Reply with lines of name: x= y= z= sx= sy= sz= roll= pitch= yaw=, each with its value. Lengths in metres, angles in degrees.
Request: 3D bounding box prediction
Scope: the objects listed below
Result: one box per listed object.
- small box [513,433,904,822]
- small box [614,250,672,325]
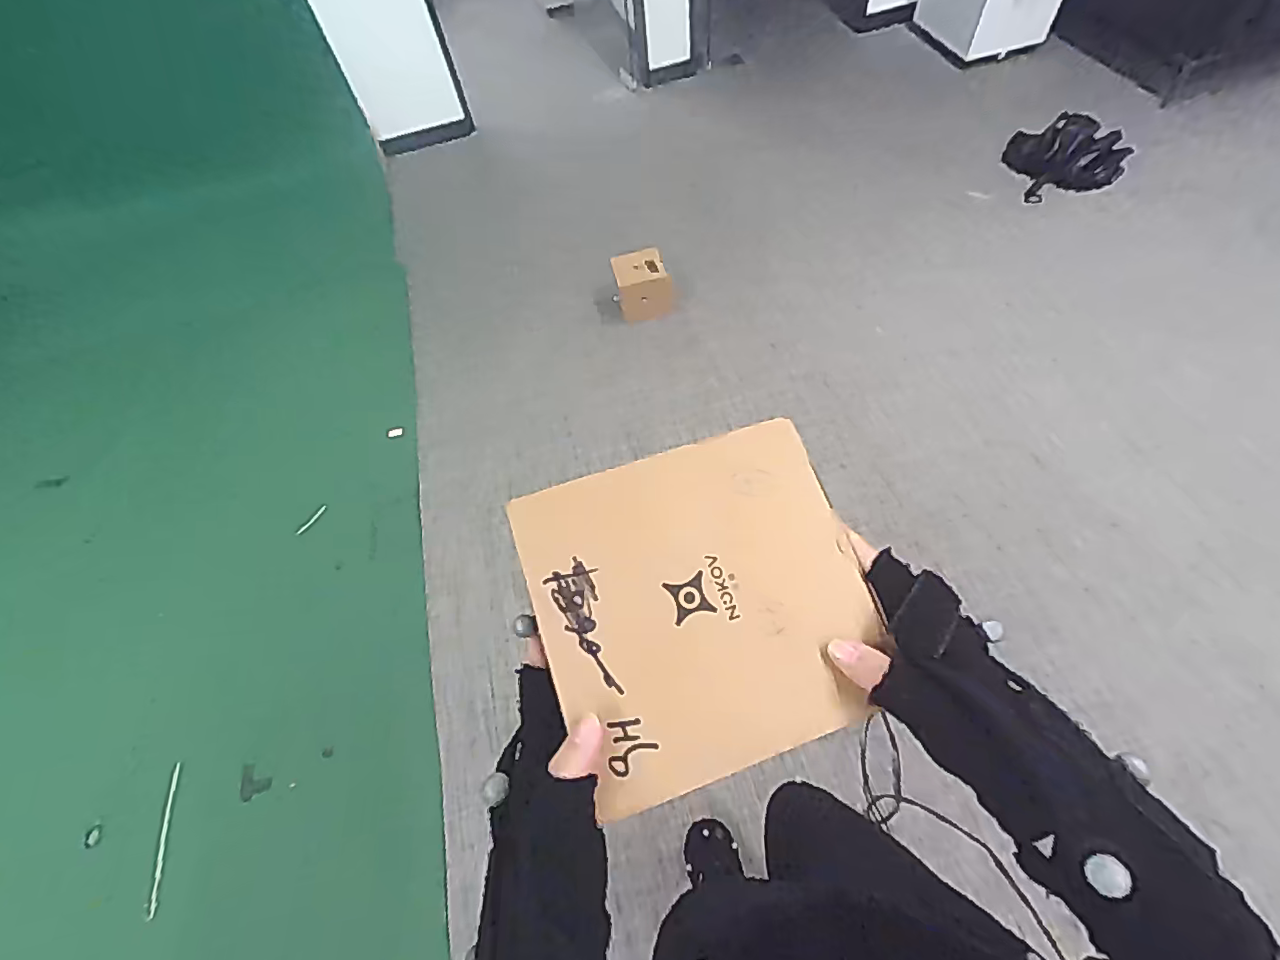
small box: x=0.028 y=0.093 z=0.366 sx=0.179 sy=0.176 sz=0.168 roll=-16 pitch=71 yaw=-9
small box: x=0.014 y=-0.693 z=1.955 sx=0.179 sy=0.176 sz=0.168 roll=-16 pitch=59 yaw=-3
